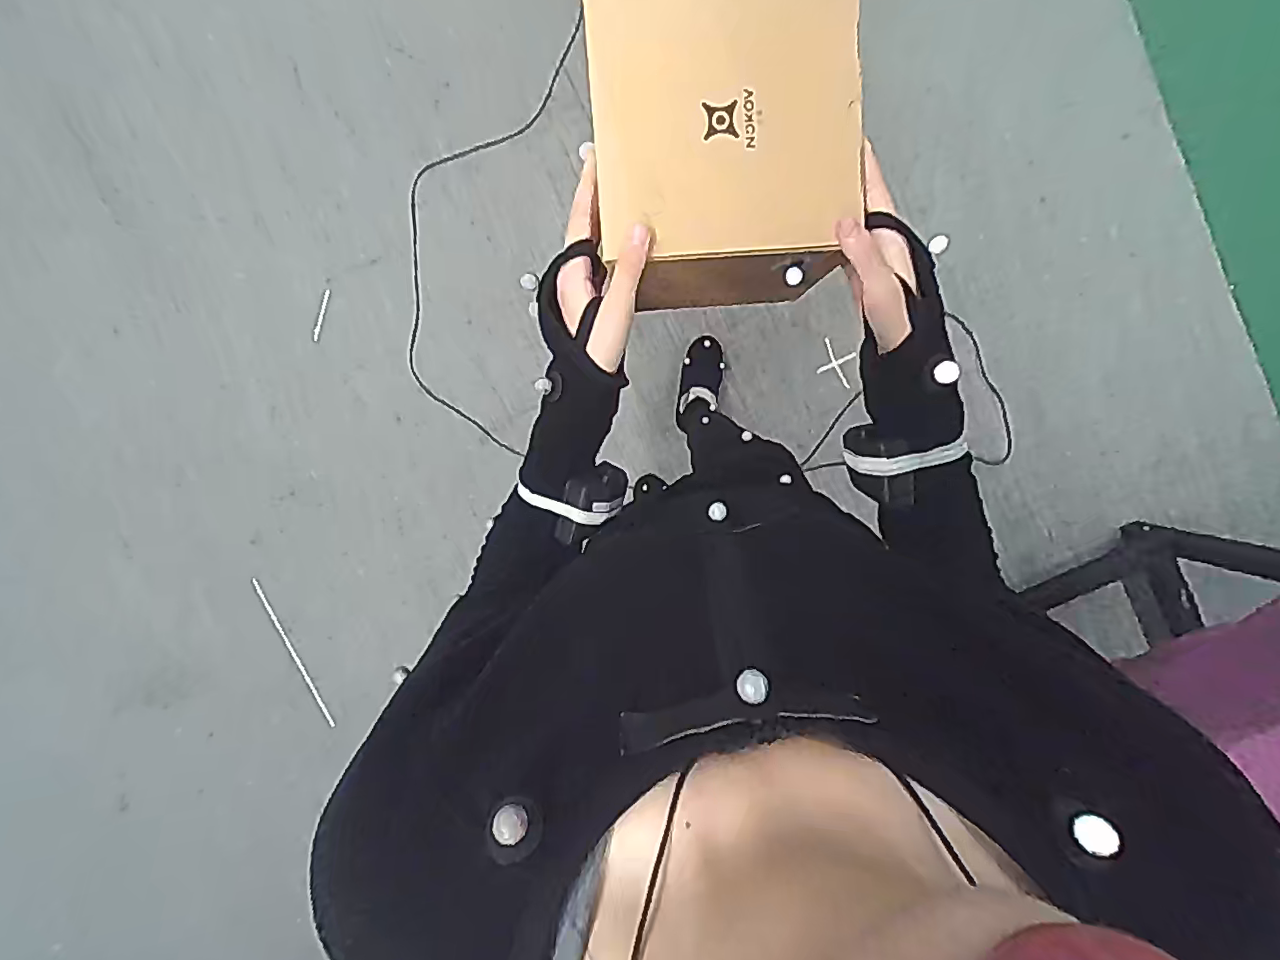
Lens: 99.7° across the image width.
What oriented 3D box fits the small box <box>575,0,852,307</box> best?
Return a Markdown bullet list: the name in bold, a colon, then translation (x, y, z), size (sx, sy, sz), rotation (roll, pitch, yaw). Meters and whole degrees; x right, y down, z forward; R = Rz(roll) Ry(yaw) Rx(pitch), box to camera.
- **small box**: translation (0.050, -0.242, 0.432), size (0.179, 0.176, 0.168), rotation (-4, 96, 0)
